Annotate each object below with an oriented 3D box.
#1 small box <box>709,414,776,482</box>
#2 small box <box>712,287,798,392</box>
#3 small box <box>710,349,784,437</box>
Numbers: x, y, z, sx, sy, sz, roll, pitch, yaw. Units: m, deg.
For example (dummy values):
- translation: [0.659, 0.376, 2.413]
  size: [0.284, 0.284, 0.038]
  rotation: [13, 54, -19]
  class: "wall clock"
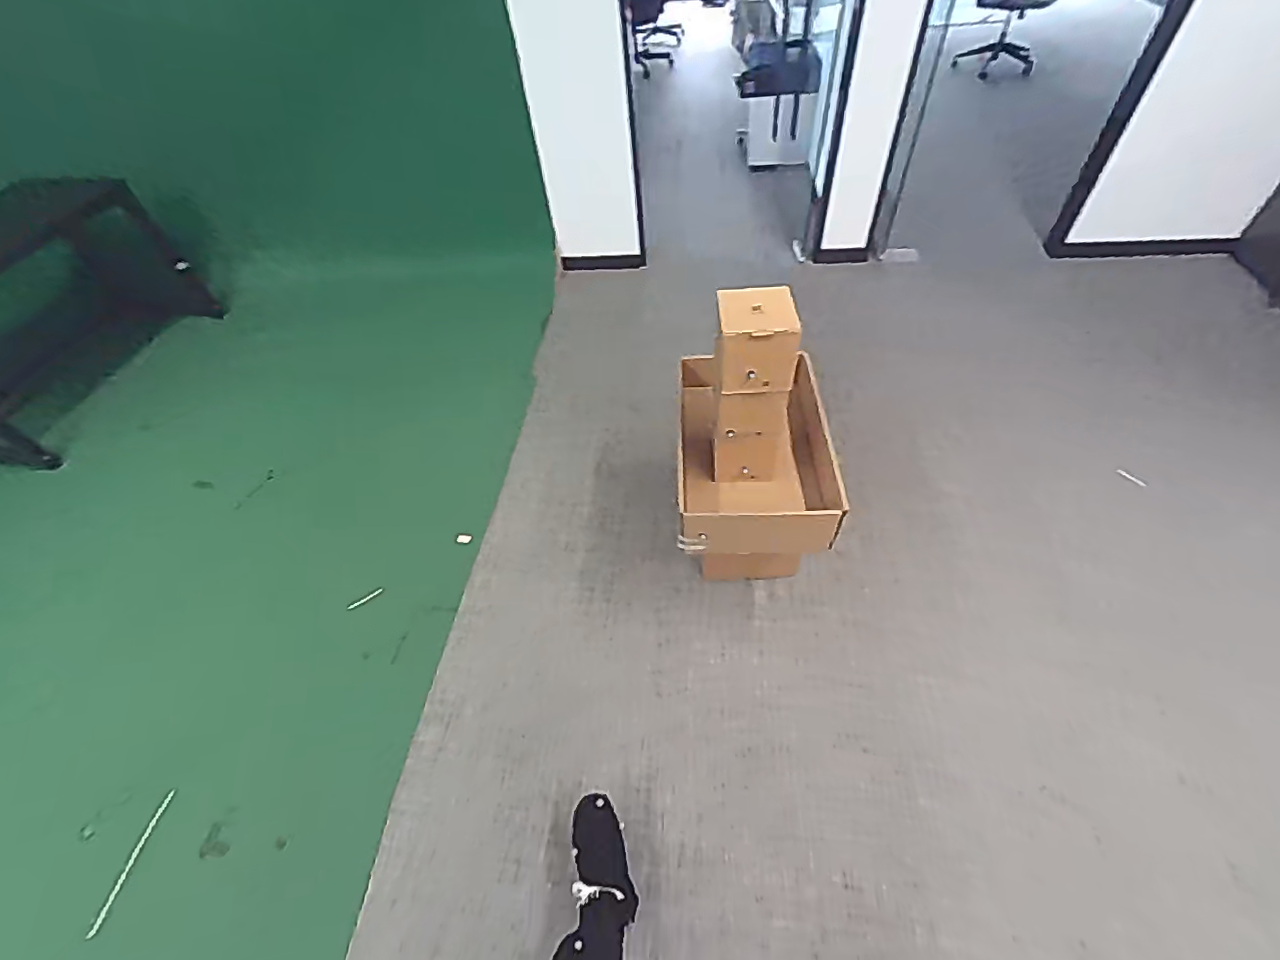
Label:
- translation: [0.279, -0.115, 1.501]
  size: [0.168, 0.176, 0.179]
  rotation: [-1, 49, 5]
  class: "small box"
- translation: [0.256, -0.323, 1.251]
  size: [0.168, 0.176, 0.179]
  rotation: [-2, 50, 3]
  class: "small box"
- translation: [0.266, -0.221, 1.377]
  size: [0.168, 0.176, 0.179]
  rotation: [-2, 48, 3]
  class: "small box"
